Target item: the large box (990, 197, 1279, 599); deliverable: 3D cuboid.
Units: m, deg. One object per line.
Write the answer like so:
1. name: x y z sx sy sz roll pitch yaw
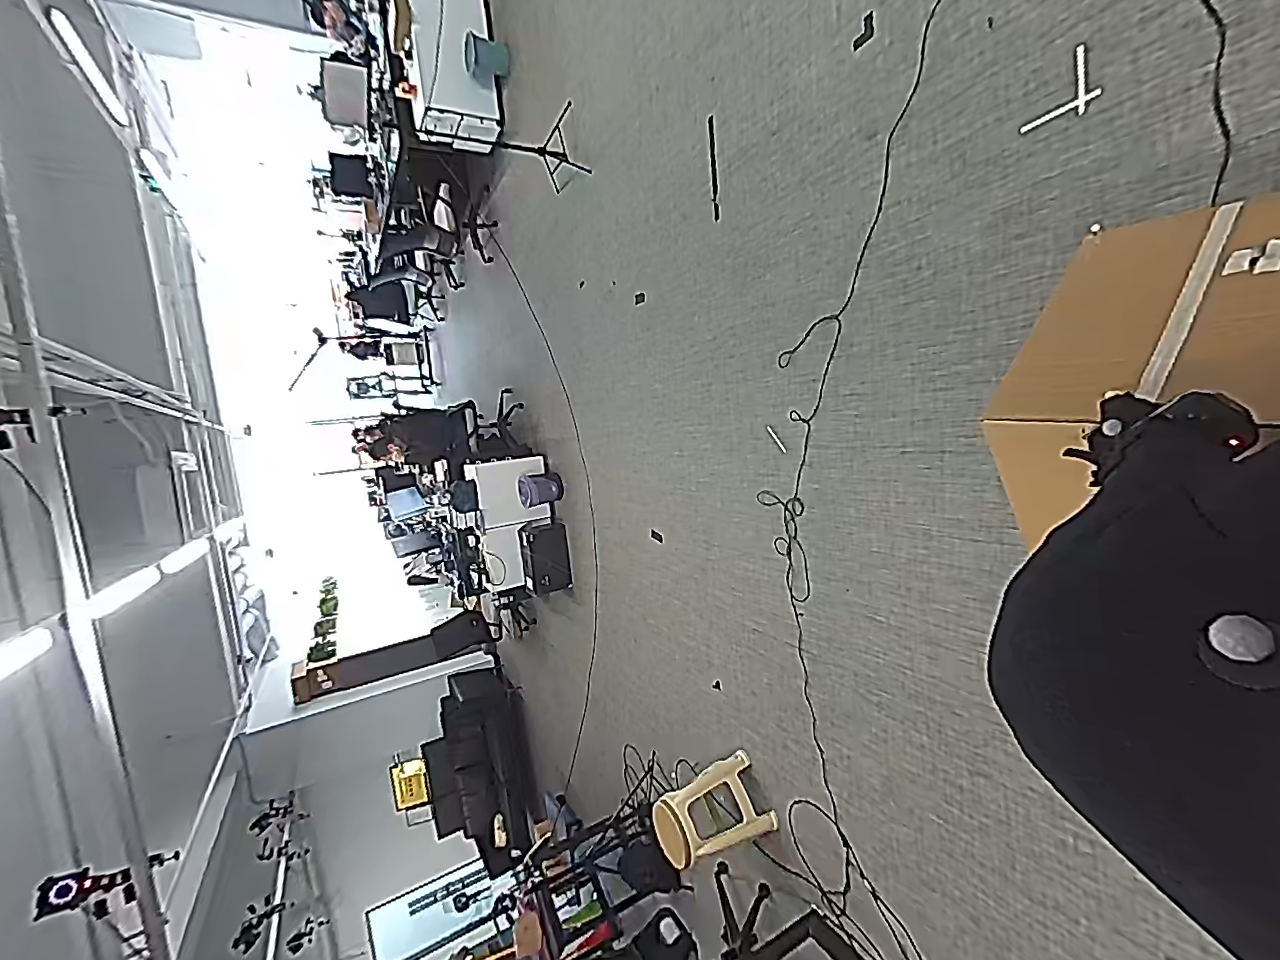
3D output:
1. large box: 0.744 -0.108 0.719 0.320 0.408 0.320 13 149 54
